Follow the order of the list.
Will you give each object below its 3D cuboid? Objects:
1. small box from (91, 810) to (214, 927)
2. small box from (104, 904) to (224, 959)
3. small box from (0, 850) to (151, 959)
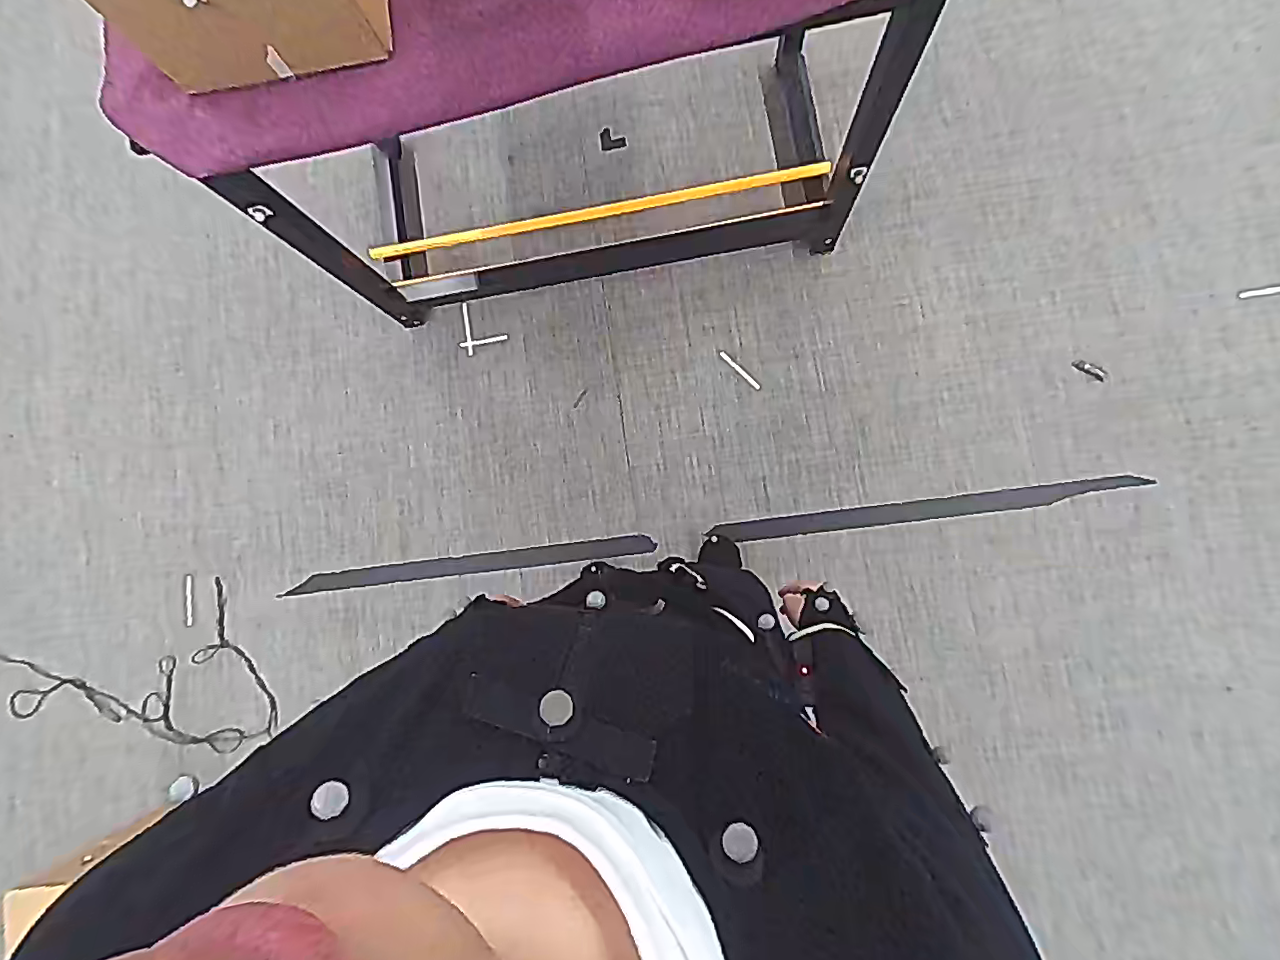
[{"bbox_3d":[-1.194,0.946,1.329,0.168,0.176,0.179,-3,84,5],"label":"small box"},{"bbox_3d":[-1.161,1.177,1.306,0.179,0.176,0.168,-15,83,3],"label":"small box"},{"bbox_3d":[-1.208,0.931,1.166,0.168,0.176,0.179,-9,84,5],"label":"small box"}]
